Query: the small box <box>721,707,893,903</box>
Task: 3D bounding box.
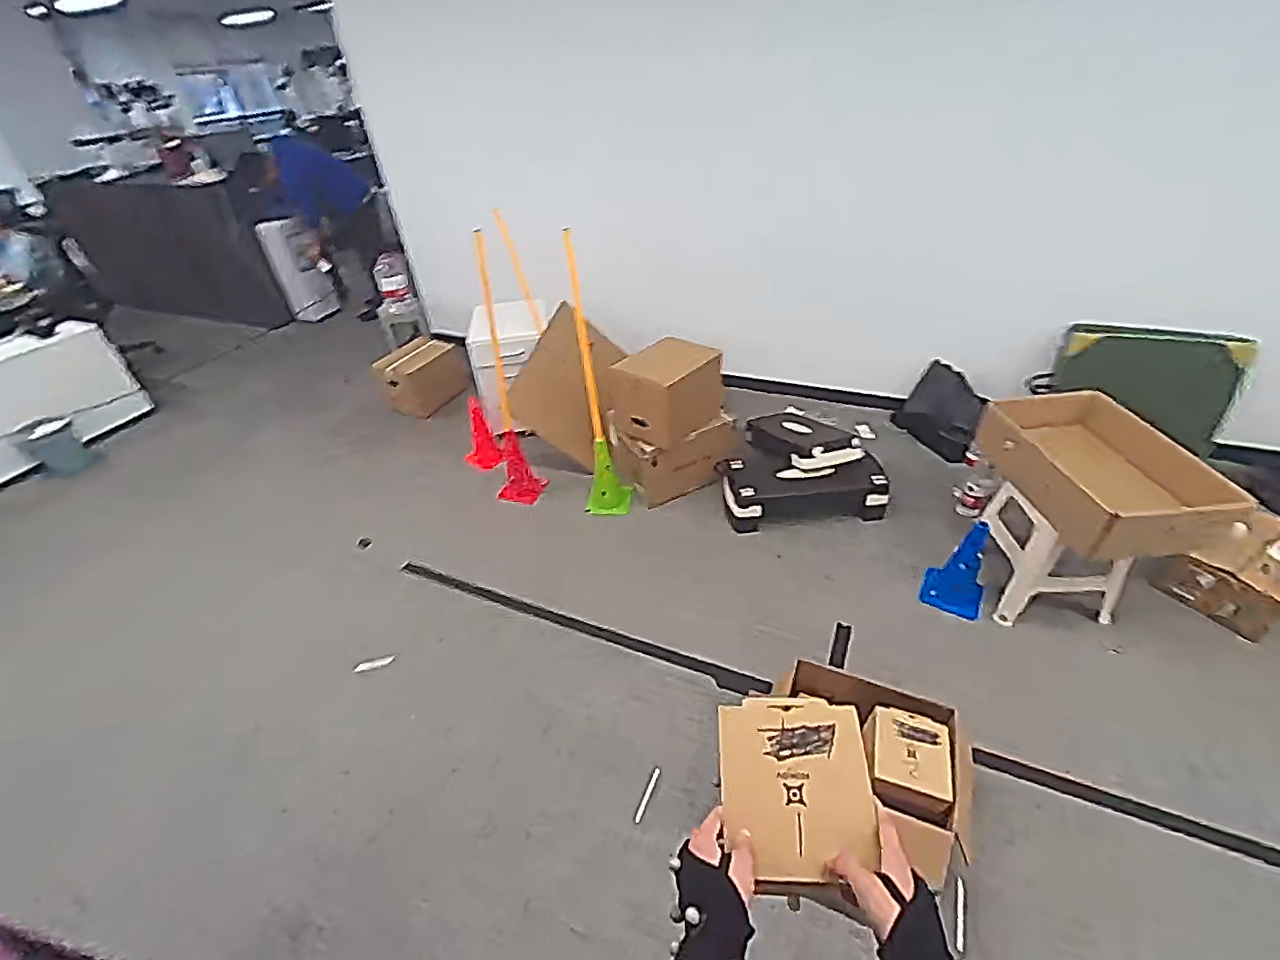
[{"bbox_3d":[0.184,0.394,0.657,0.168,0.176,0.179,-4,49,8],"label":"small box"}]
